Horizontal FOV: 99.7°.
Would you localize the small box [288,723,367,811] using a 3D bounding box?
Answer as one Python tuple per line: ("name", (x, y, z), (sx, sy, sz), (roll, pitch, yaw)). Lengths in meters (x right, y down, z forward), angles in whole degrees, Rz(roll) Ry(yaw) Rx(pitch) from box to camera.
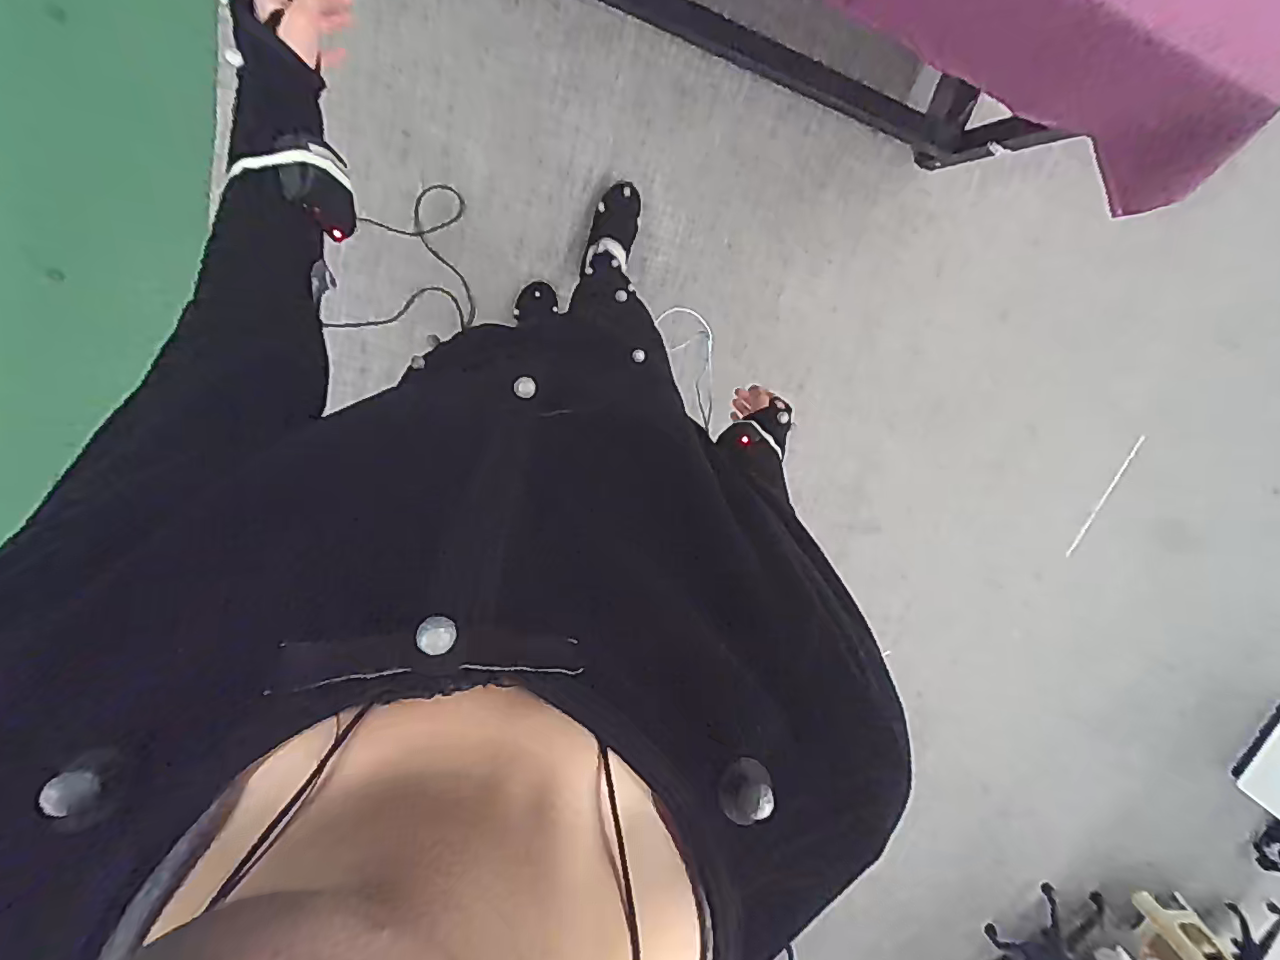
("small box", (-0.929, 0.849, 1.606), (0.179, 0.176, 0.168), (11, 108, -15))
